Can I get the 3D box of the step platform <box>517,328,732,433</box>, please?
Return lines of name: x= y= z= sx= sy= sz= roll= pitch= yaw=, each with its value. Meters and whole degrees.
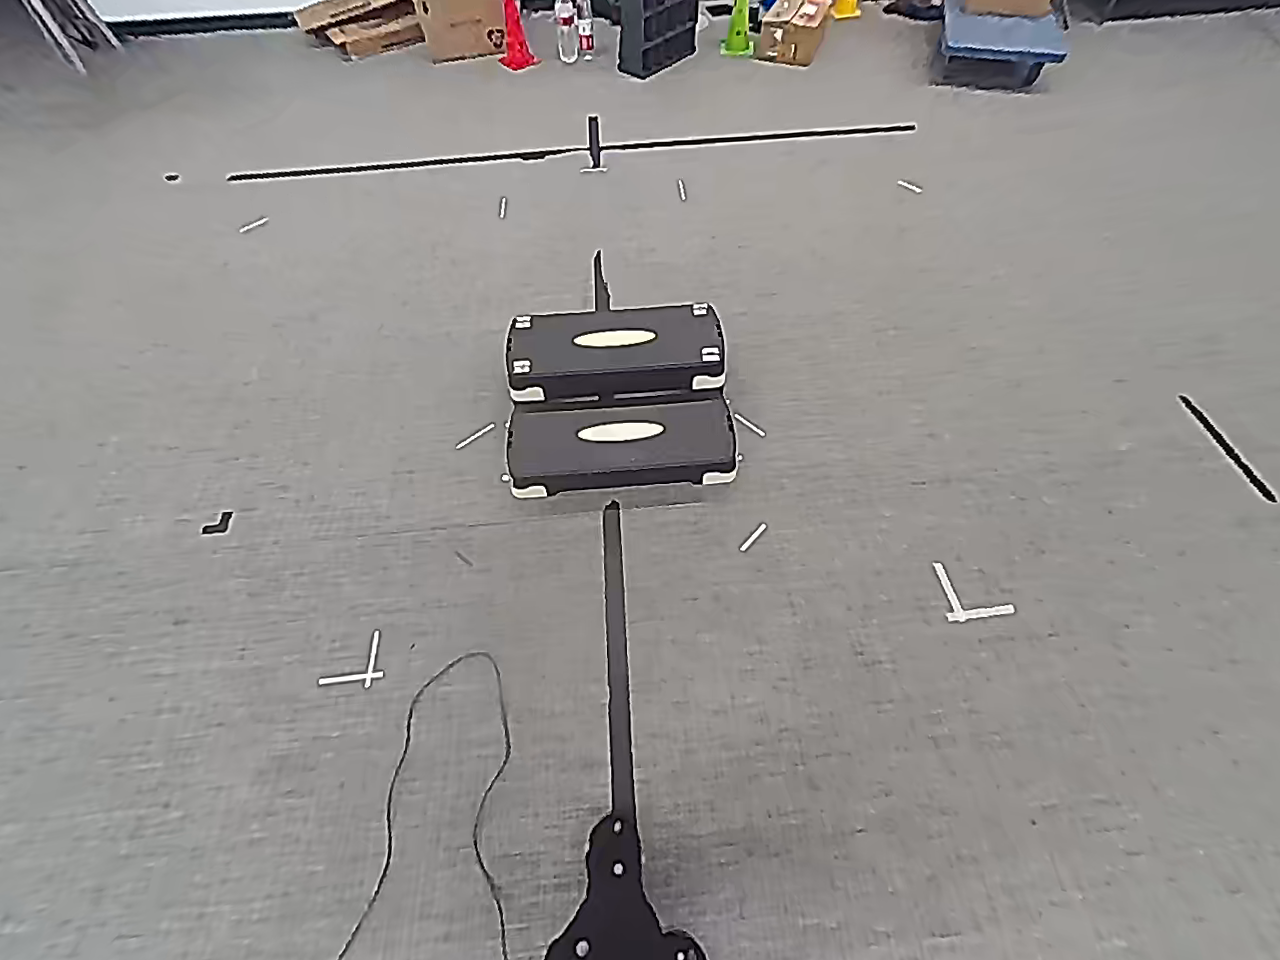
step platform: x=-0.048 y=-0.327 z=1.746 sx=0.684 sy=0.204 sz=0.286 roll=-1 pitch=55 yaw=1
